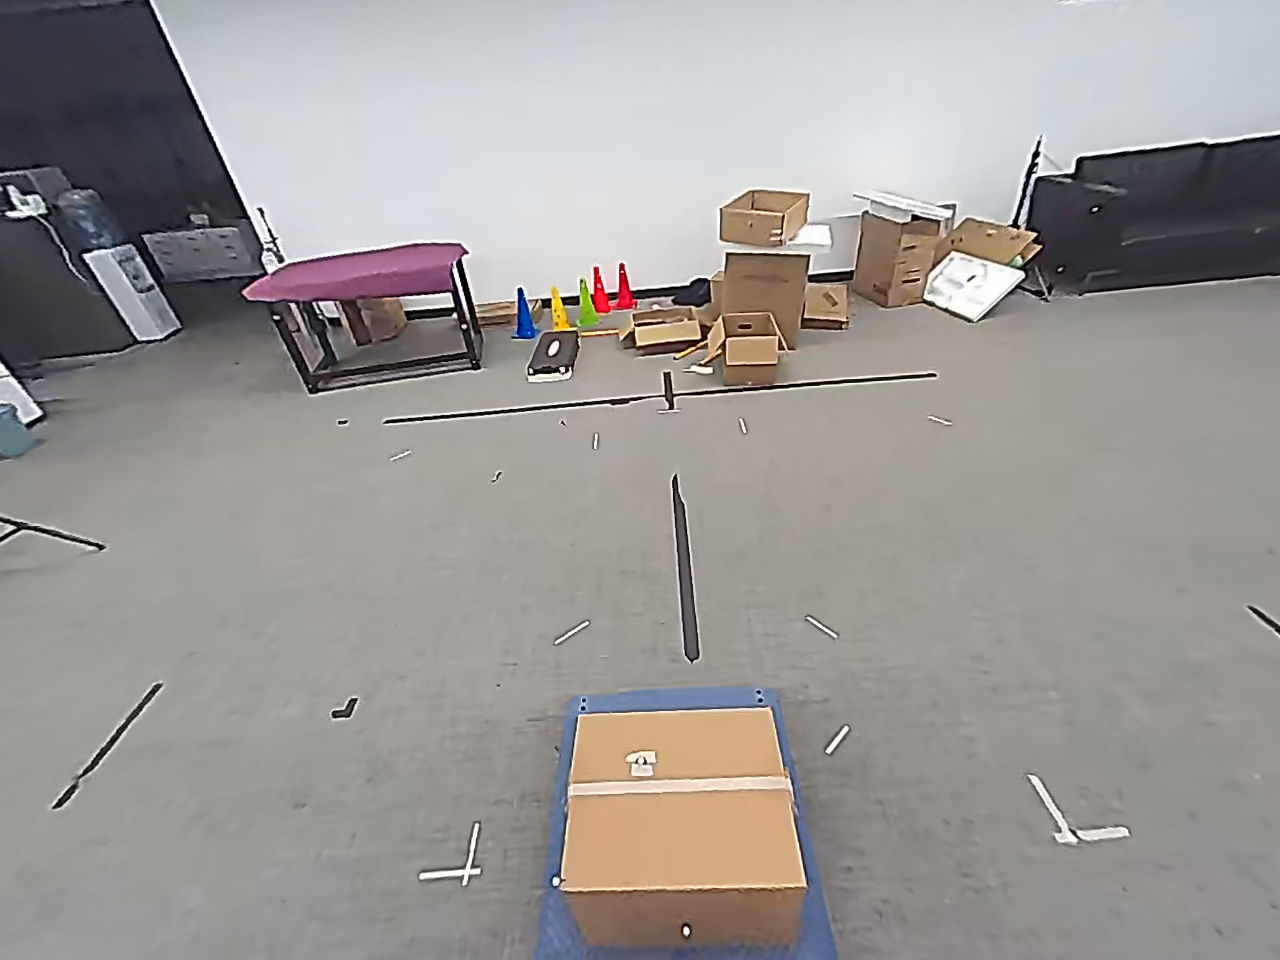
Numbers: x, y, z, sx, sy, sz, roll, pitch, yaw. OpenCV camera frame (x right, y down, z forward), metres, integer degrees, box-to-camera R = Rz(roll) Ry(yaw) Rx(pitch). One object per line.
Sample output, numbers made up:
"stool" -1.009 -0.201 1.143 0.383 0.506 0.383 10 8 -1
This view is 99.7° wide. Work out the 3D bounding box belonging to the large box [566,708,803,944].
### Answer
"large box" 0.088 0.703 1.103 0.408 0.320 0.320 -5 34 4
